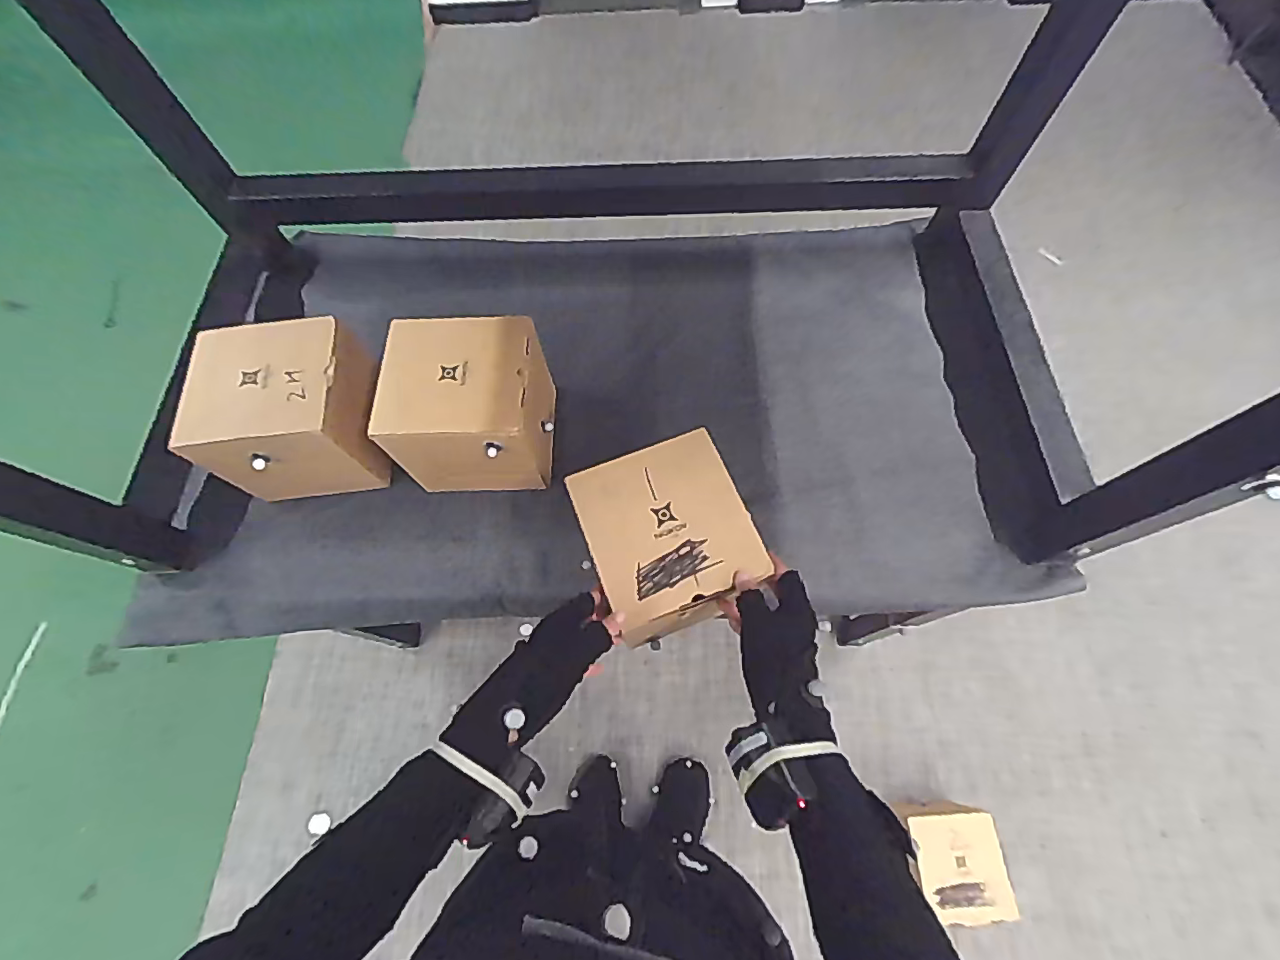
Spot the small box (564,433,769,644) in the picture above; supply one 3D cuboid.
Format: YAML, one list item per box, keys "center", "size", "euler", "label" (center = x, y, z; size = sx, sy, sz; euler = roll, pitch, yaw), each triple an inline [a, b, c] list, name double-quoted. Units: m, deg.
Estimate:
- center: [0.026, 0.078, 0.622]
  size: [0.168, 0.176, 0.179]
  euler: [-20, 67, -6]
  label: "small box"
